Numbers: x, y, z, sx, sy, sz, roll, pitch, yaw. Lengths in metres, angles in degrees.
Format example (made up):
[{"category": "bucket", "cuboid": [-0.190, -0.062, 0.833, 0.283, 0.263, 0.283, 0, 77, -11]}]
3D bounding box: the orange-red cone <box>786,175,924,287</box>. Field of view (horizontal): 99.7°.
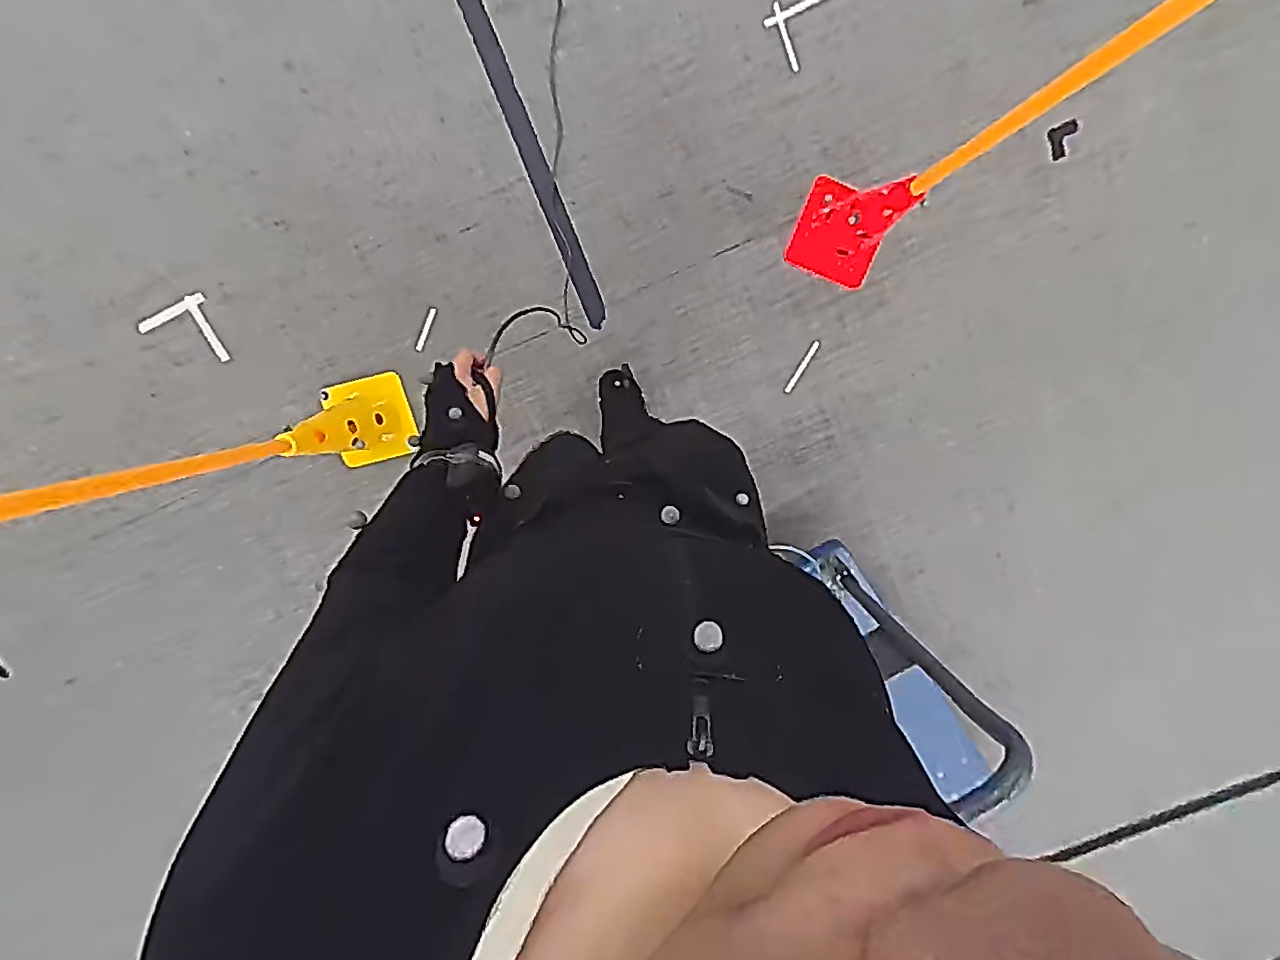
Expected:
[{"category": "orange-red cone", "cuboid": [0.457, -0.528, 1.072, 0.198, 0.360, 0.199, 22, 102, -5]}]
